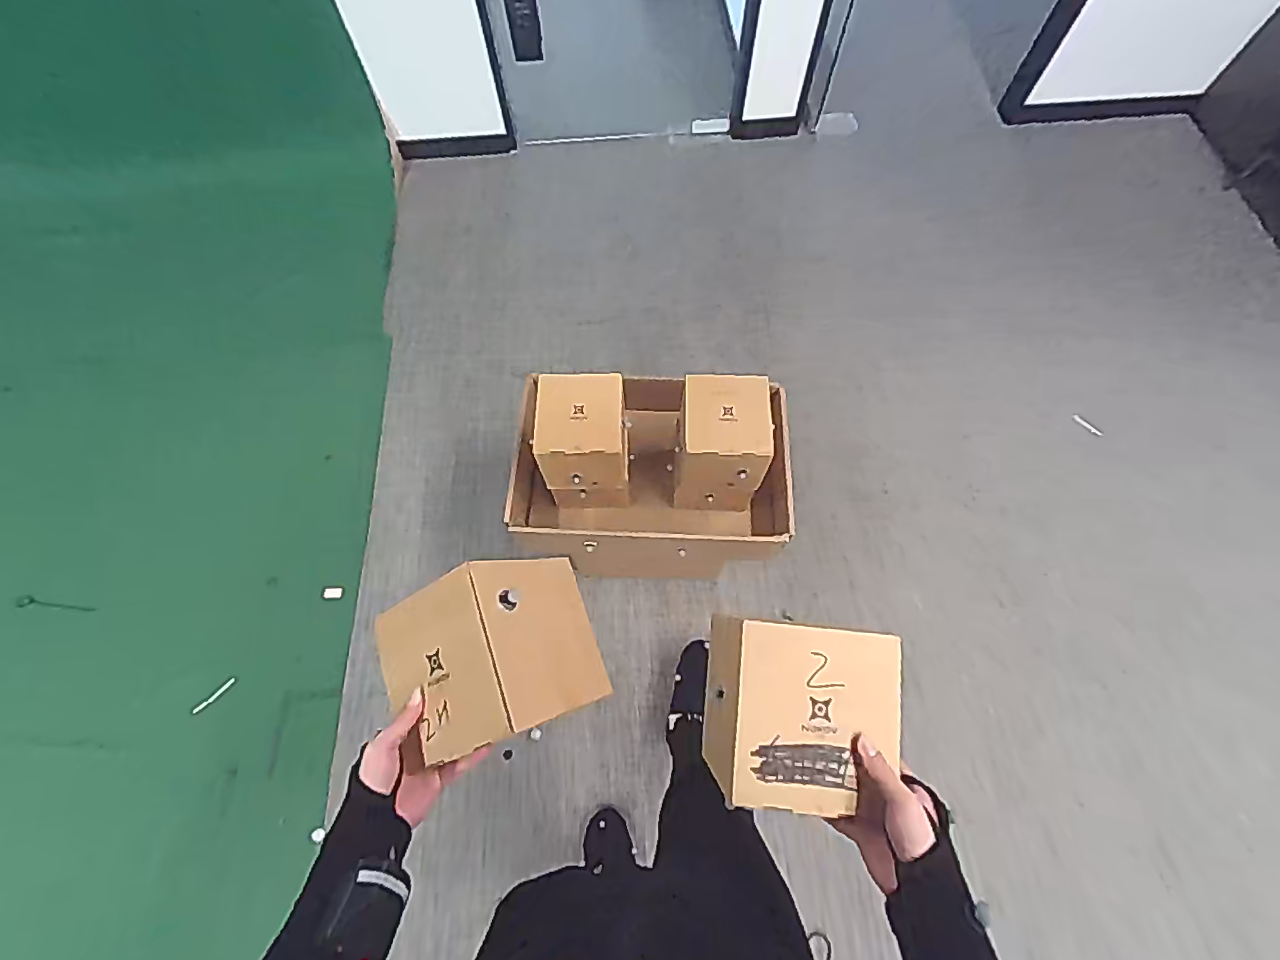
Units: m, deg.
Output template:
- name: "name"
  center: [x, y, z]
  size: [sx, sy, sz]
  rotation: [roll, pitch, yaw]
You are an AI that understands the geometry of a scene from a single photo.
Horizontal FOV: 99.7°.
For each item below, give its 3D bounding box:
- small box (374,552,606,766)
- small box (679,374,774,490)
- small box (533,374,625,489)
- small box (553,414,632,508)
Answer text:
- name: "small box"
  center: [-0.167, 0.193, 0.618]
  size: [0.168, 0.176, 0.179]
  rotation: [-29, 70, 25]
- name: "small box"
  center: [0.168, -0.090, 1.087]
  size: [0.168, 0.176, 0.179]
  rotation: [3, 65, 1]
- name: "small box"
  center: [-0.115, -0.095, 1.094]
  size: [0.168, 0.176, 0.179]
  rotation: [0, 66, -1]
- name: "small box"
  center: [-0.111, -0.040, 1.245]
  size: [0.179, 0.176, 0.168]
  rotation: [0, 66, 1]
